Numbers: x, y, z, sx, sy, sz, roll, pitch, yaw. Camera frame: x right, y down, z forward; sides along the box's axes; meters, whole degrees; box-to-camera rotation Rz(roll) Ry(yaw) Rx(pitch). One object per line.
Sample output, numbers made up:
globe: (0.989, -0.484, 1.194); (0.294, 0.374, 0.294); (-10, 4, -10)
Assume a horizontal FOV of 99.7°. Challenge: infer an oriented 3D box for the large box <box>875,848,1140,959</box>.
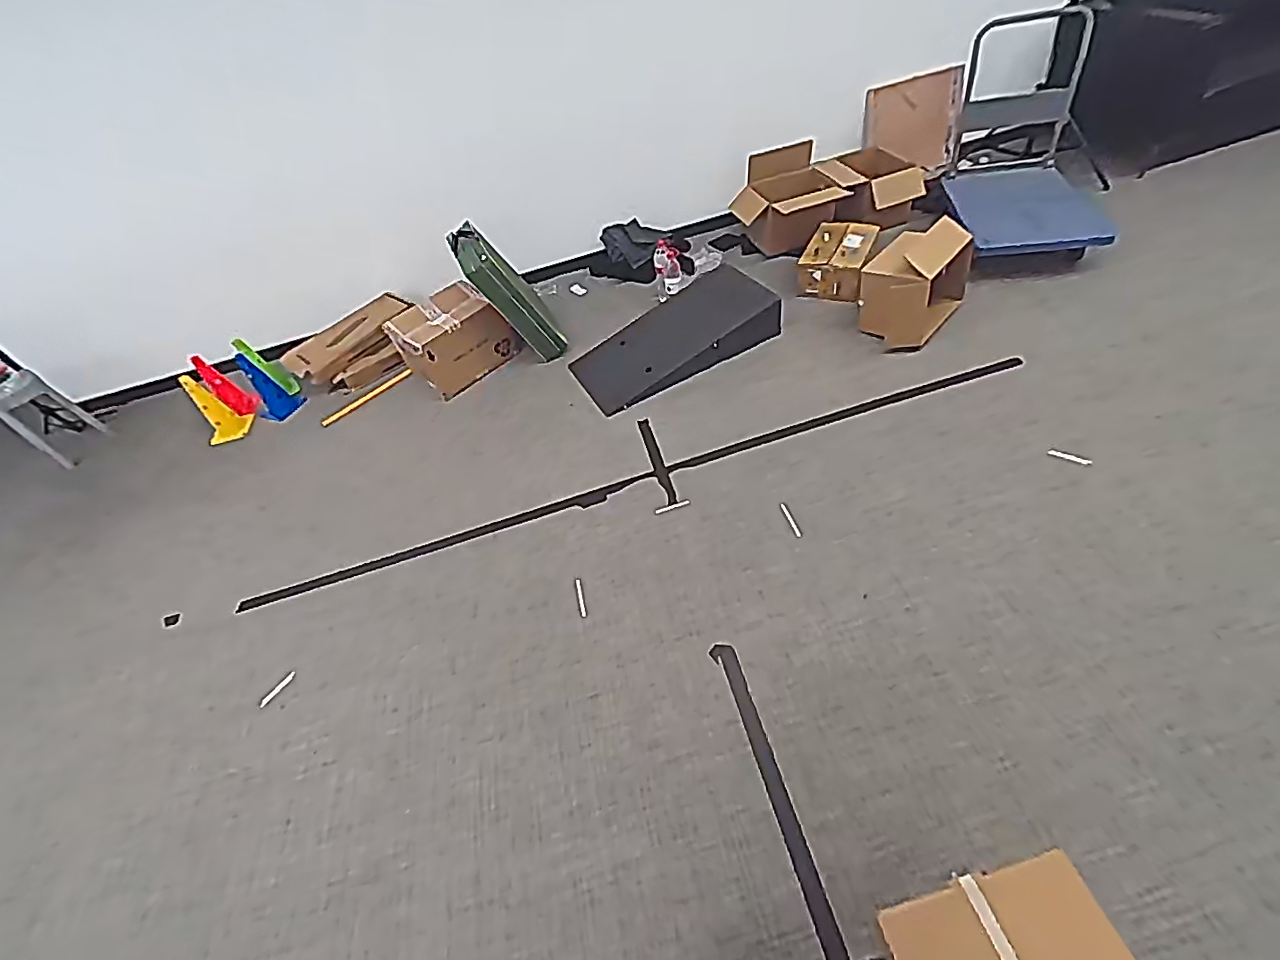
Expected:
large box: (0.621, 0.864, 0.844); (0.320, 0.320, 0.408); (-23, 49, 4)
